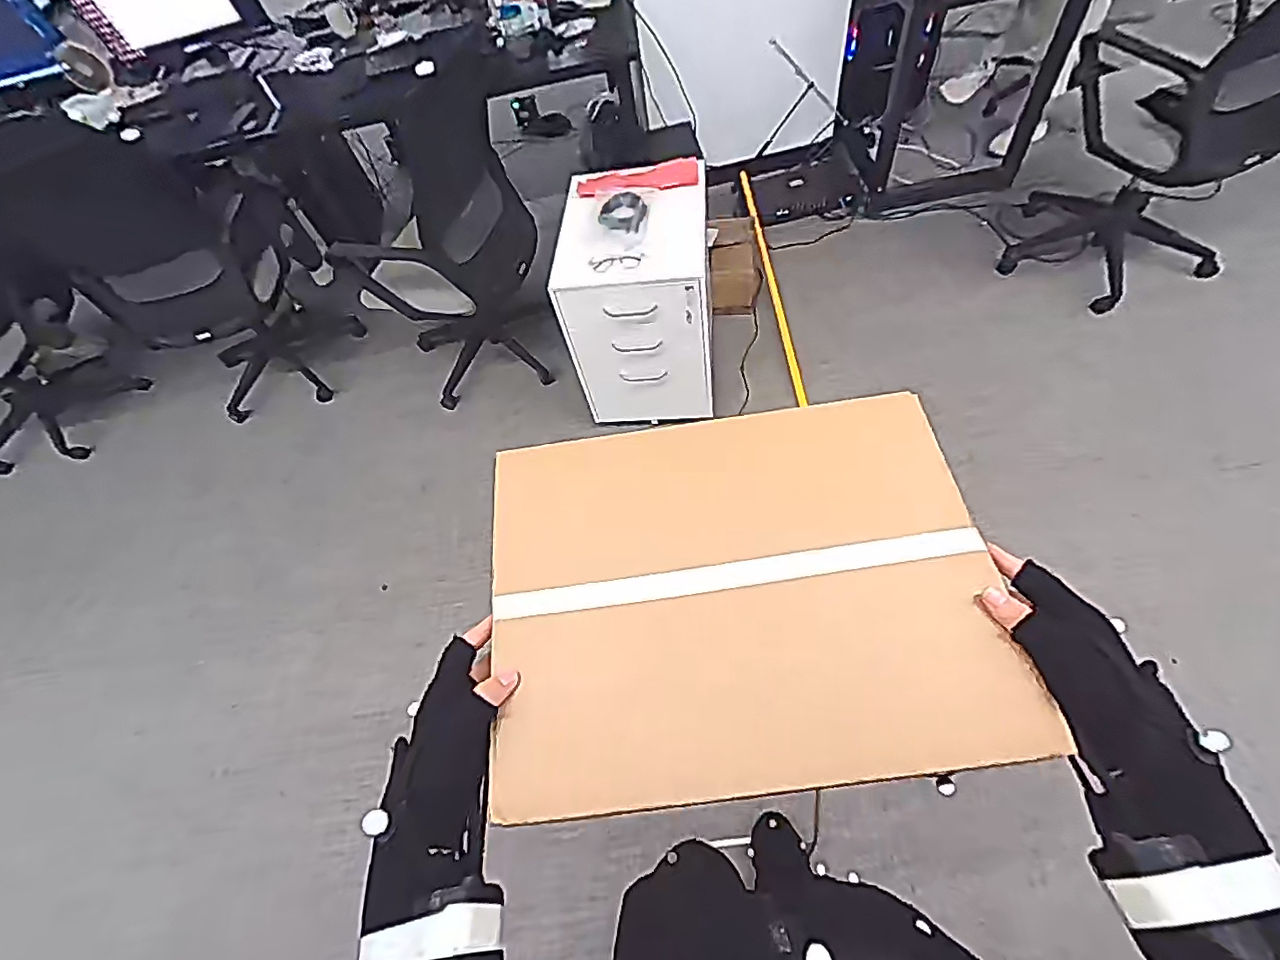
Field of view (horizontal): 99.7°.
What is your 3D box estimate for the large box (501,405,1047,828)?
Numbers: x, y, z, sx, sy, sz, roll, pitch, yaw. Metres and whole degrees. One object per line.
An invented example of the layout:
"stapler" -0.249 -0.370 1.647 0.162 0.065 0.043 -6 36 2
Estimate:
"large box" 0.093 0.158 0.587 0.408 0.320 0.320 -8 60 2
